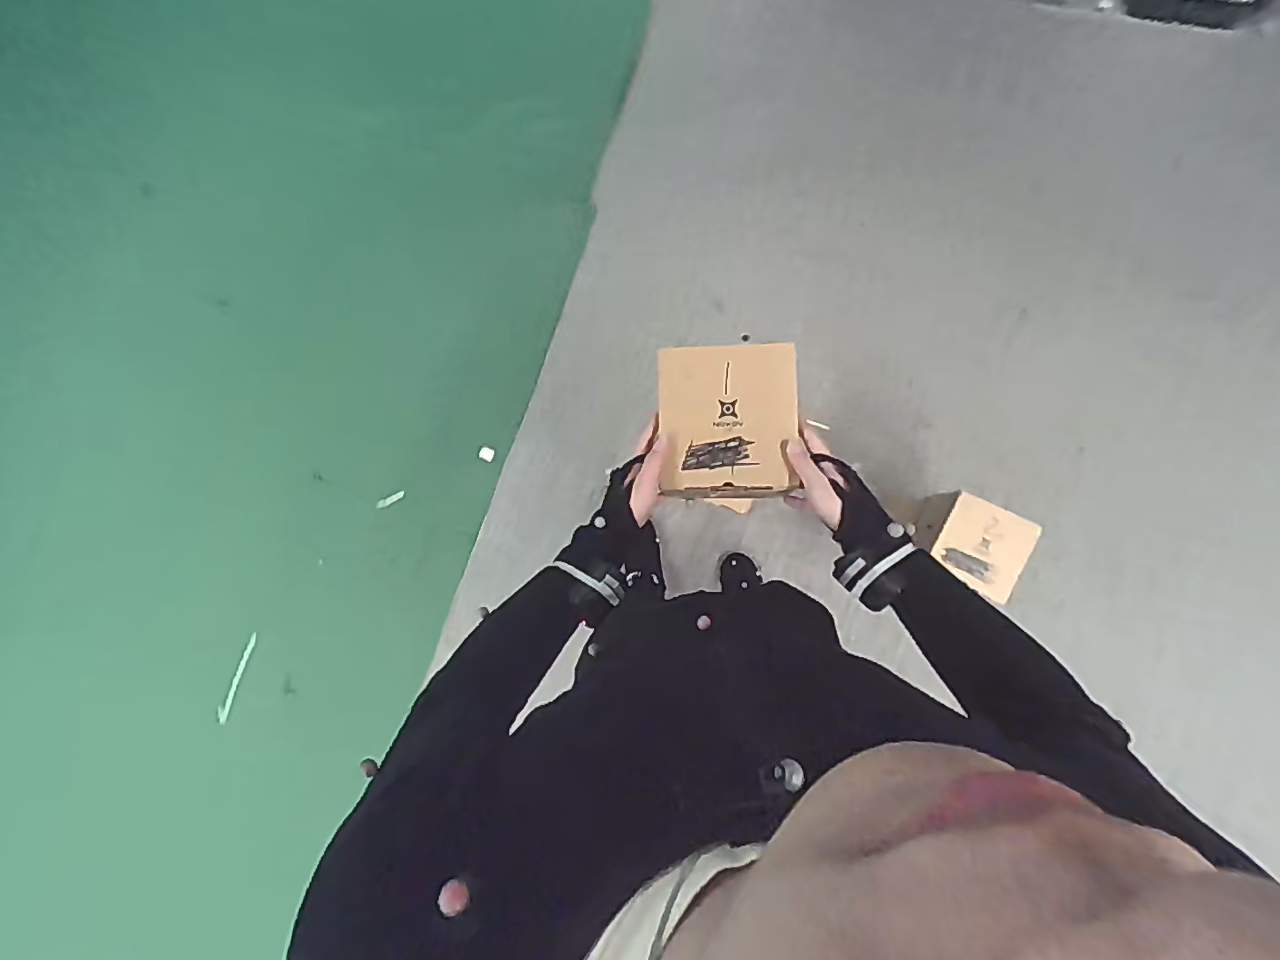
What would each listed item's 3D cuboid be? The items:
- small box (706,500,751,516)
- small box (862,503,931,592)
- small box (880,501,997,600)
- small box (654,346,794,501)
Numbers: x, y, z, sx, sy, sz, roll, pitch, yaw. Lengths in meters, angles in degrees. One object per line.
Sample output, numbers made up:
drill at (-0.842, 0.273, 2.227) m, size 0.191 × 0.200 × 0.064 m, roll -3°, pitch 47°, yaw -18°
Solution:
small box at (0.229, -0.017, 1.407) m, size 0.168 × 0.176 × 0.179 m, roll 25°, pitch 91°, yaw 11°
small box at (0.729, 0.180, 1.471) m, size 0.168 × 0.176 × 0.179 m, roll 32°, pitch 92°, yaw 13°
small box at (0.711, 0.166, 1.312) m, size 0.168 × 0.176 × 0.179 m, roll 26°, pitch 90°, yaw 10°
small box at (0.108, -0.063, 0.717) m, size 0.168 × 0.176 × 0.179 m, roll -1°, pitch 83°, yaw 7°
